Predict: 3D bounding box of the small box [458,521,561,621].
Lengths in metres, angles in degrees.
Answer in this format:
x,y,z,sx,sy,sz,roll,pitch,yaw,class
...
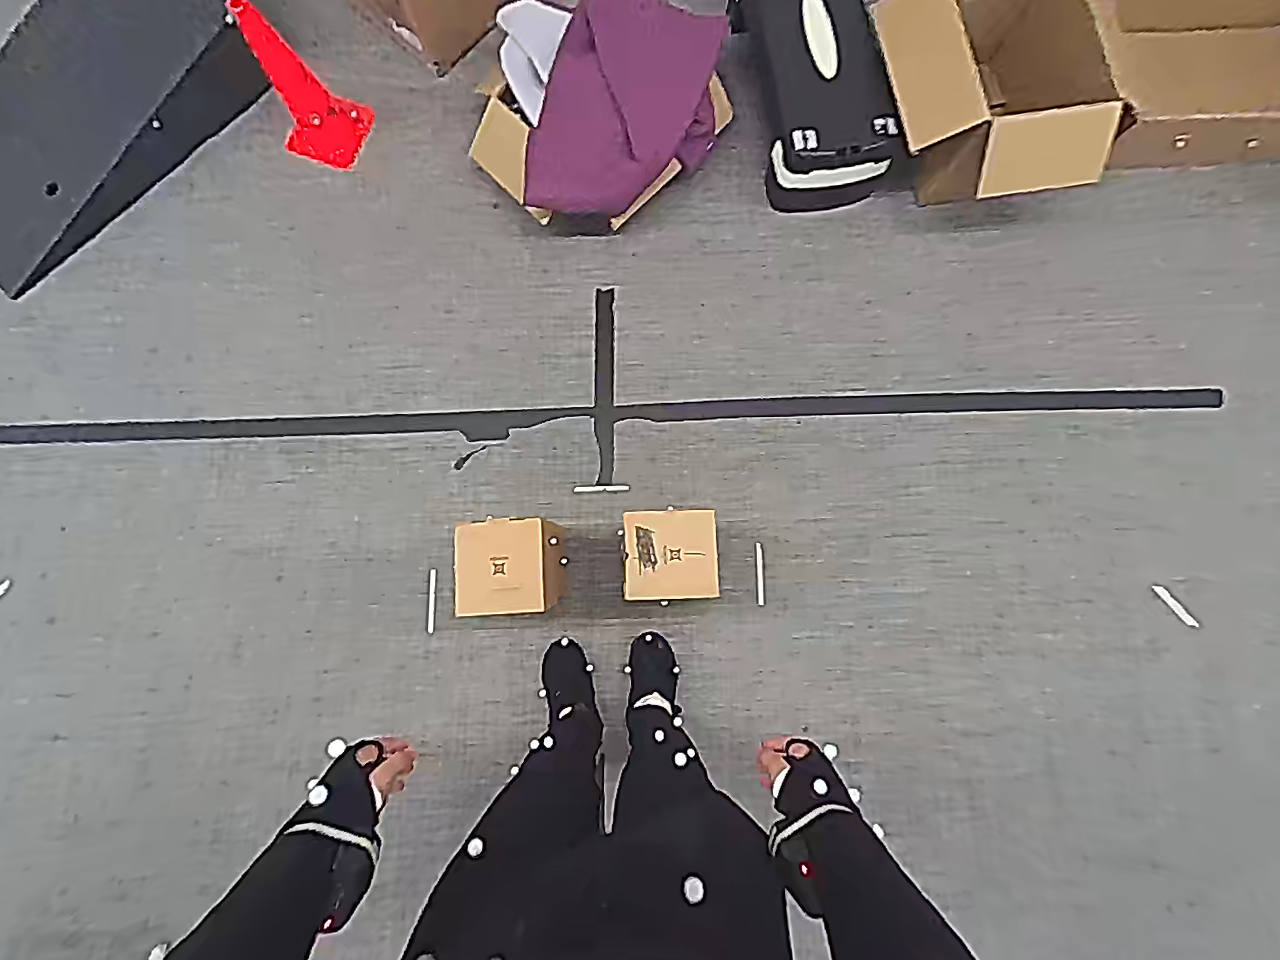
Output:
x,y,z,sx,sy,sz,roll,pitch,yaw,class
-0.255,0.179,1.081,0.168,0.176,0.179,-4,83,1,small box

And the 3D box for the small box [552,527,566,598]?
x,y,z,sx,sy,sz,roll,pitch,yaw,class
-0.265,0.197,1.242,0.179,0.176,0.168,-4,81,0,small box

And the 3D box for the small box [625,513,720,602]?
x,y,z,sx,sy,sz,roll,pitch,yaw,class
0.060,0.157,1.084,0.179,0.176,0.168,-1,81,-2,small box
